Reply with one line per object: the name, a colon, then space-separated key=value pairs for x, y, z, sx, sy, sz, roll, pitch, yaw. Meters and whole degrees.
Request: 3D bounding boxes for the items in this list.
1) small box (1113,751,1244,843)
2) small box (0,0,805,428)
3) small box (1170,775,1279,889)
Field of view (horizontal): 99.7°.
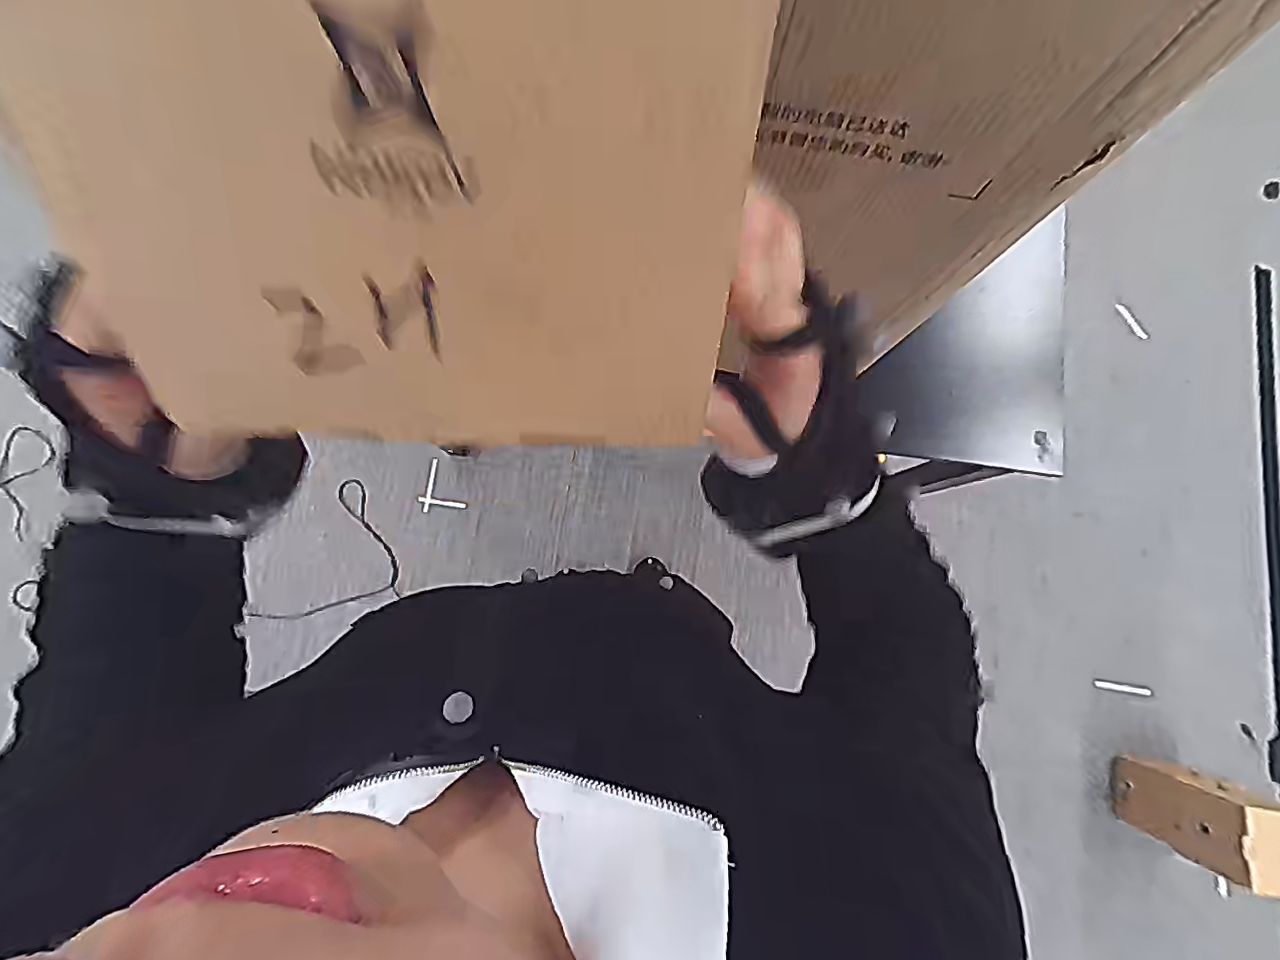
small box: x=1.356 y=0.806 z=1.368 sx=0.179 sy=0.176 sz=0.168 roll=7 pitch=80 yaw=1
small box: x=-0.054 y=-0.136 z=0.163 sx=0.168 sy=0.179 sz=0.176 roll=2 pitch=42 yaw=-4
small box: x=1.342 y=0.781 z=1.206 sx=0.179 sy=0.176 sz=0.168 roll=9 pitch=80 yaw=1
